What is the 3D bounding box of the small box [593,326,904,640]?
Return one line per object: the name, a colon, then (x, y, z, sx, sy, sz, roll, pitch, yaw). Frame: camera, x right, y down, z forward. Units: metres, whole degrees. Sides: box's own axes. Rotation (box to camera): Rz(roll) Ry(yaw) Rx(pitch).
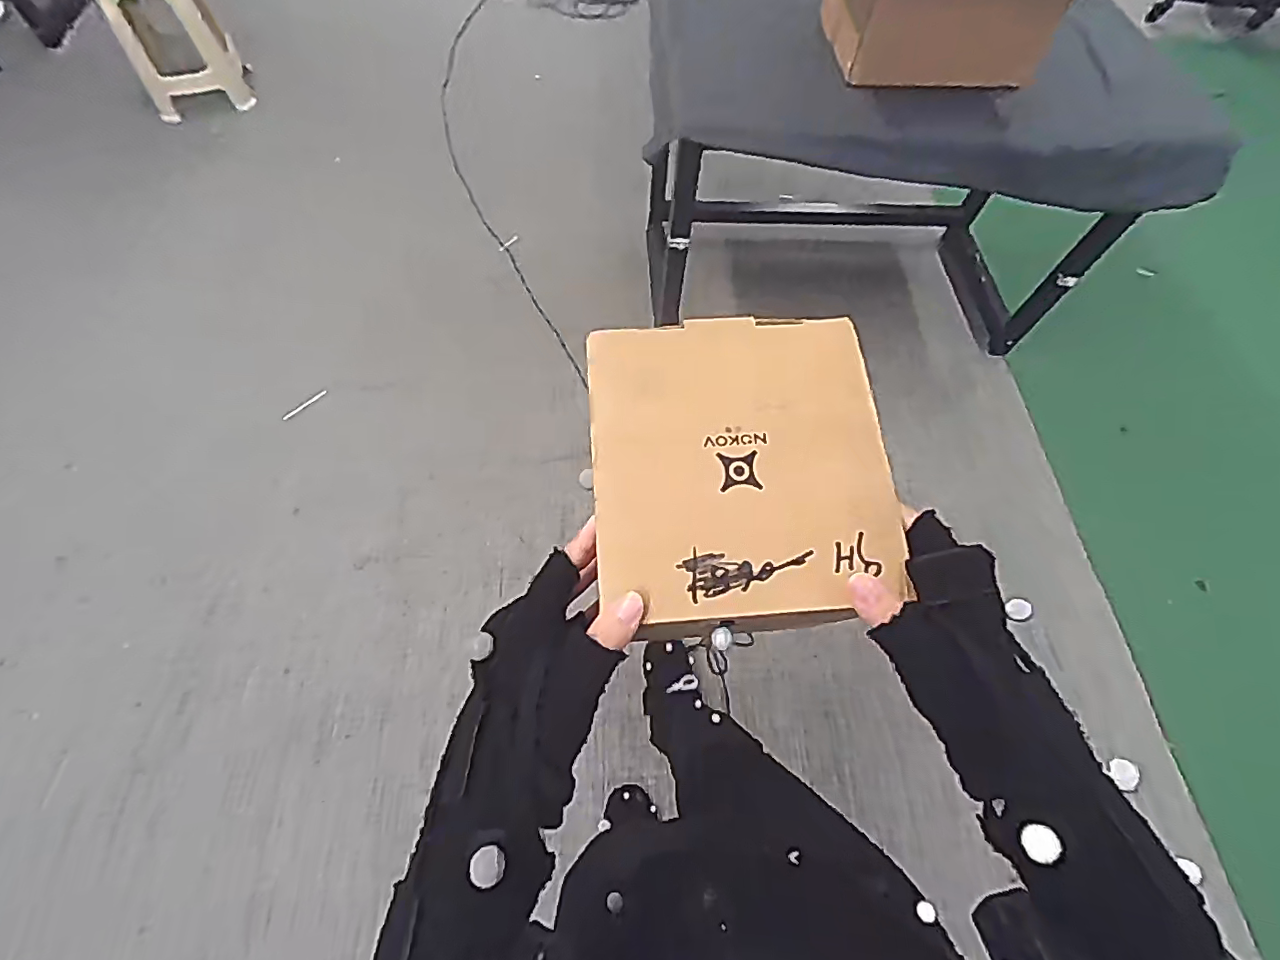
small box: (0.054, 0.014, 0.388, 0.168, 0.176, 0.179, -3, 70, -1)
